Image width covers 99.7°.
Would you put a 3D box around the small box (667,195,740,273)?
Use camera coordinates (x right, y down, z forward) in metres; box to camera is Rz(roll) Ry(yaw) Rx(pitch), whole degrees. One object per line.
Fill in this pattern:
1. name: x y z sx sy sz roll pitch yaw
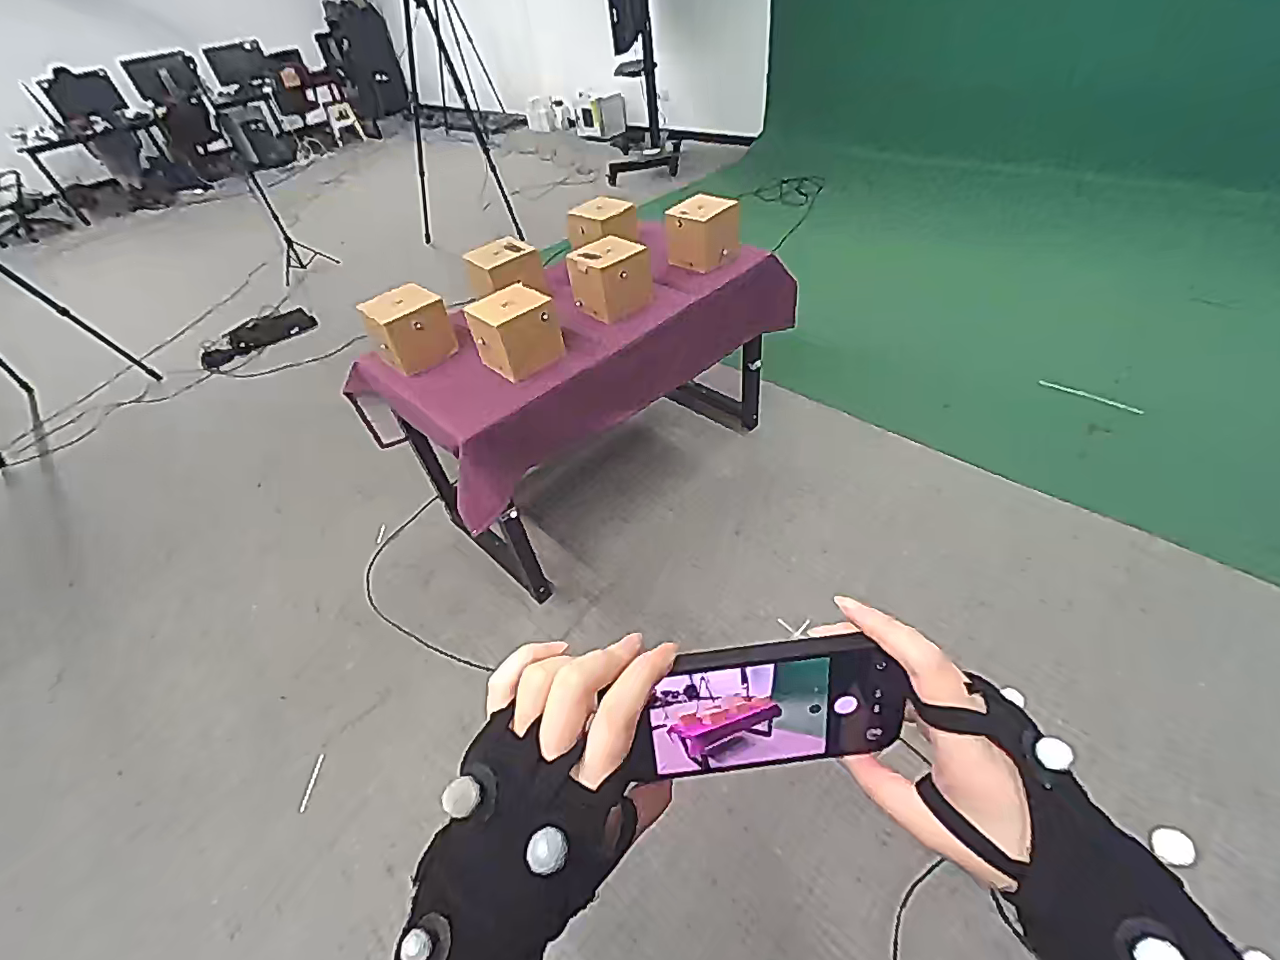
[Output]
1. small box: 0.205 -0.797 1.751 0.168 0.176 0.179 31 57 34

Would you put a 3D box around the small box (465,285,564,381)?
1. small box: -0.324 -0.388 1.430 0.179 0.176 0.168 -36 50 -26

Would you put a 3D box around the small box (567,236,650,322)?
1. small box: -0.085 -0.590 1.592 0.179 0.176 0.168 -35 50 -25

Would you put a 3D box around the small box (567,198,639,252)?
1. small box: -0.122 -0.844 1.852 0.179 0.176 0.168 30 57 32
